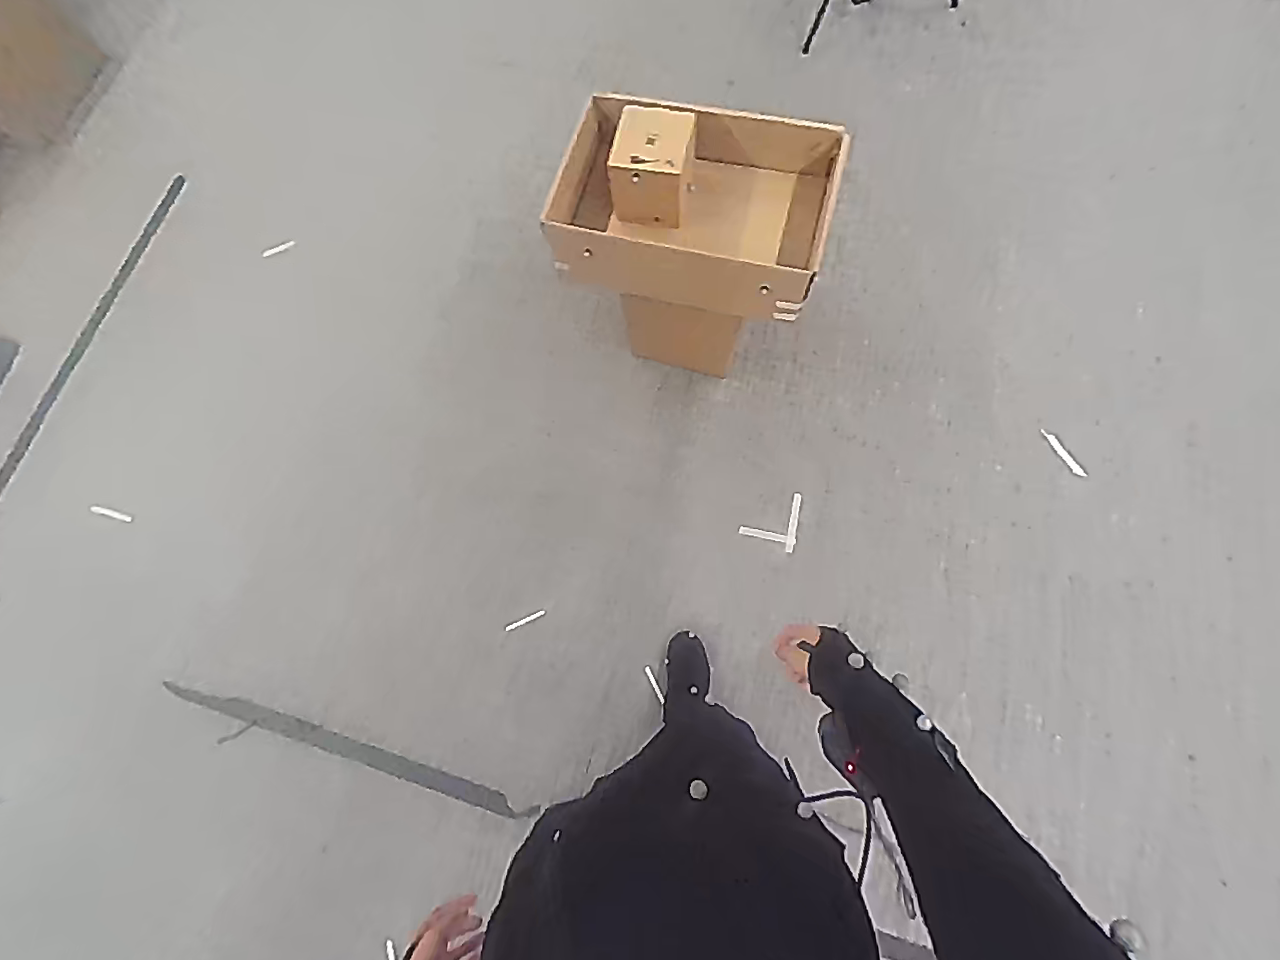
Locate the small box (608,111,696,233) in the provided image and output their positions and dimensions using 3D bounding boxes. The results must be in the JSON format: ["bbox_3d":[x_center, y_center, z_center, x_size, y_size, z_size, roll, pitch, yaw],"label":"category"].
[{"bbox_3d":[0.031,-0.724,1.278,0.168,0.176,0.179,12,75,8],"label":"small box"}]
